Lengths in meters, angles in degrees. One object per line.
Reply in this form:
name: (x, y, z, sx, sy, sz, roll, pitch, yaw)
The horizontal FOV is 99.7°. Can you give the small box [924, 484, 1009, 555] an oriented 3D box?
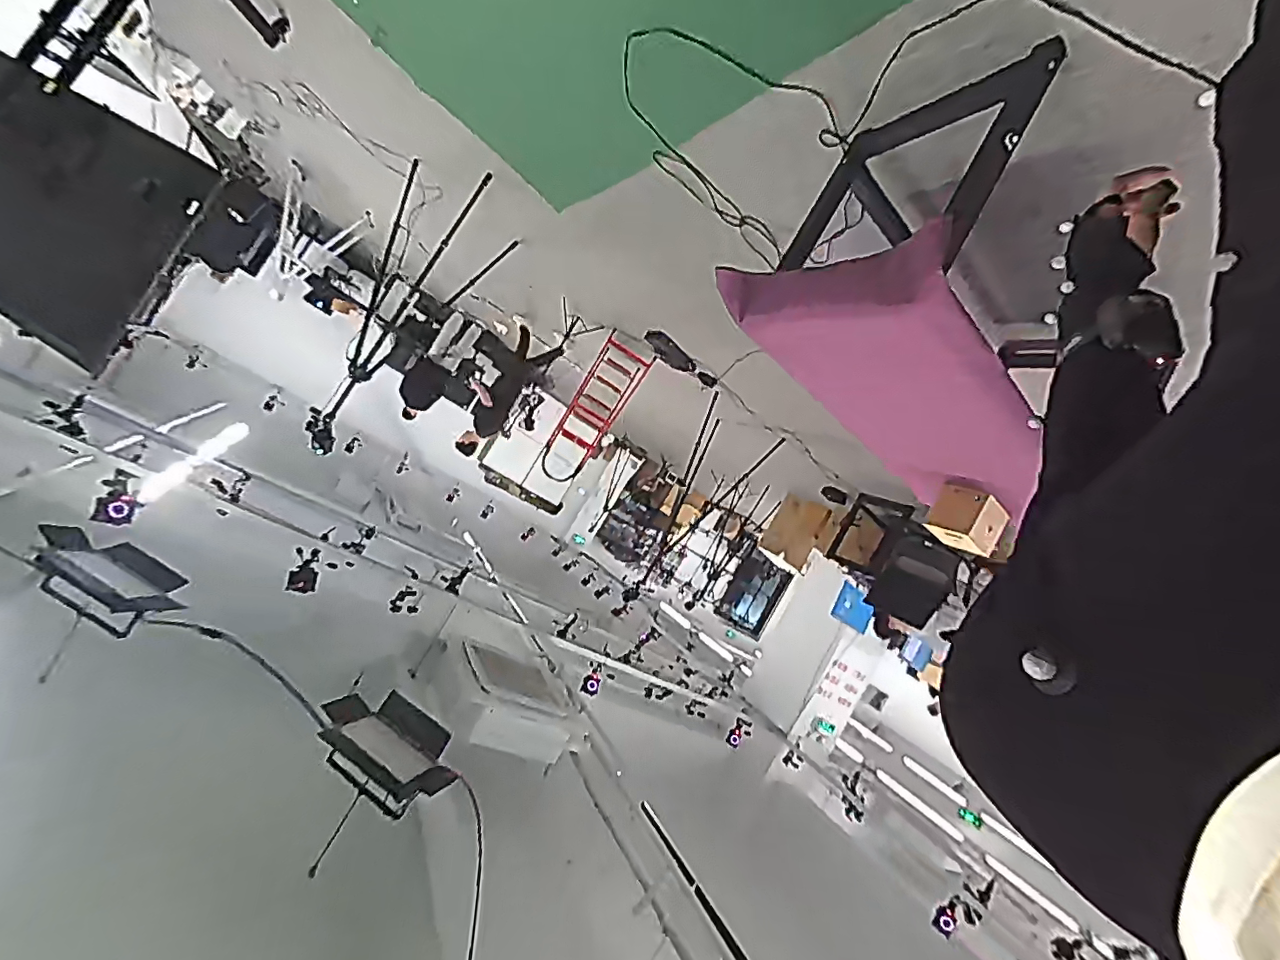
small box: (1.138, 0.131, 1.883, 0.179, 0.176, 0.168, 32, 176, -31)
